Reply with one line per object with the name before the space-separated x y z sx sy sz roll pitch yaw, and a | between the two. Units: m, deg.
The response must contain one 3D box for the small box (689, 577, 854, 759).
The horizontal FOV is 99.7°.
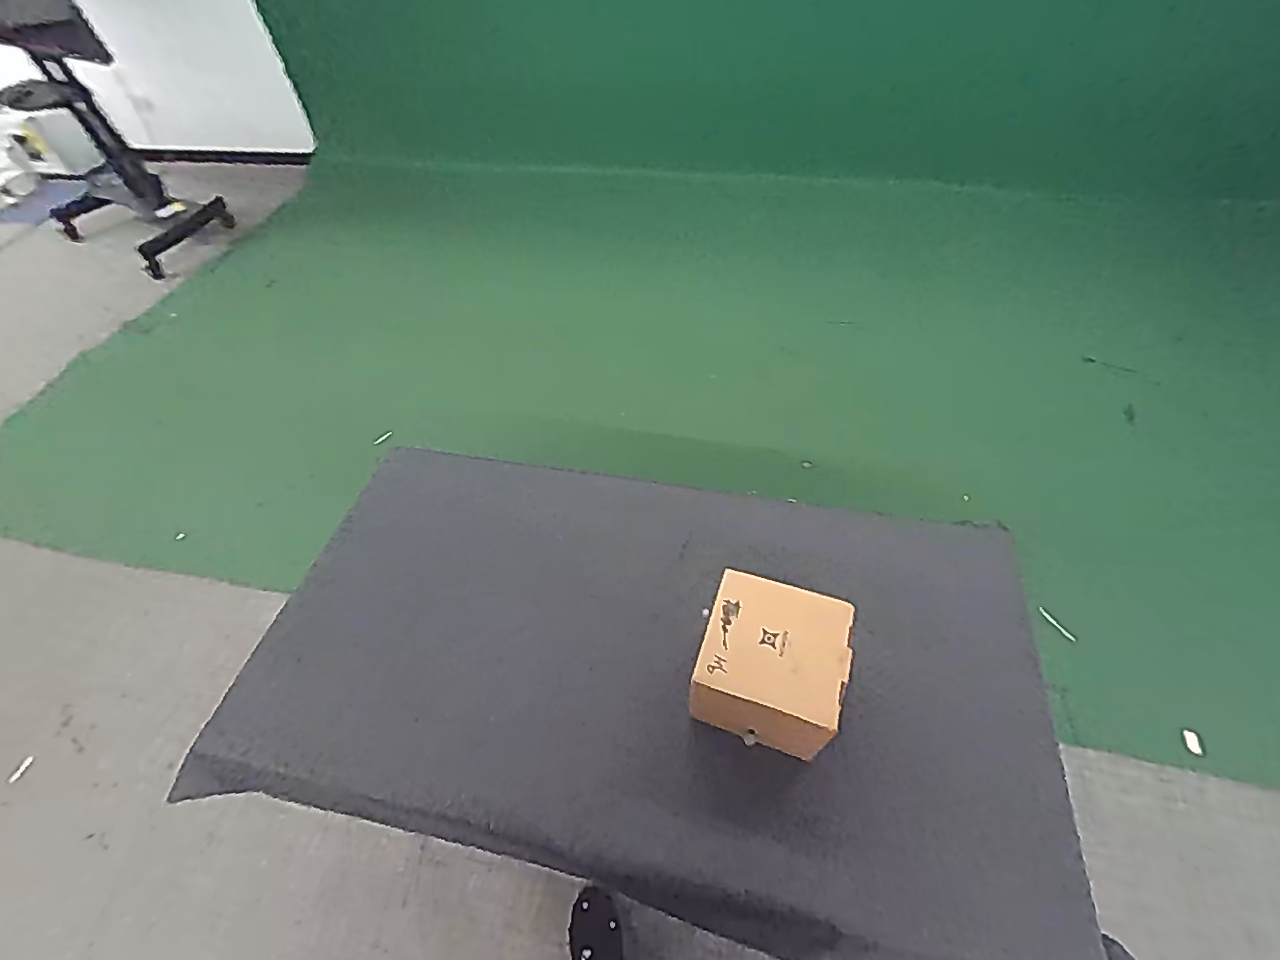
small box | 0.175 0.265 0.747 0.179 0.176 0.168 15 54 14
